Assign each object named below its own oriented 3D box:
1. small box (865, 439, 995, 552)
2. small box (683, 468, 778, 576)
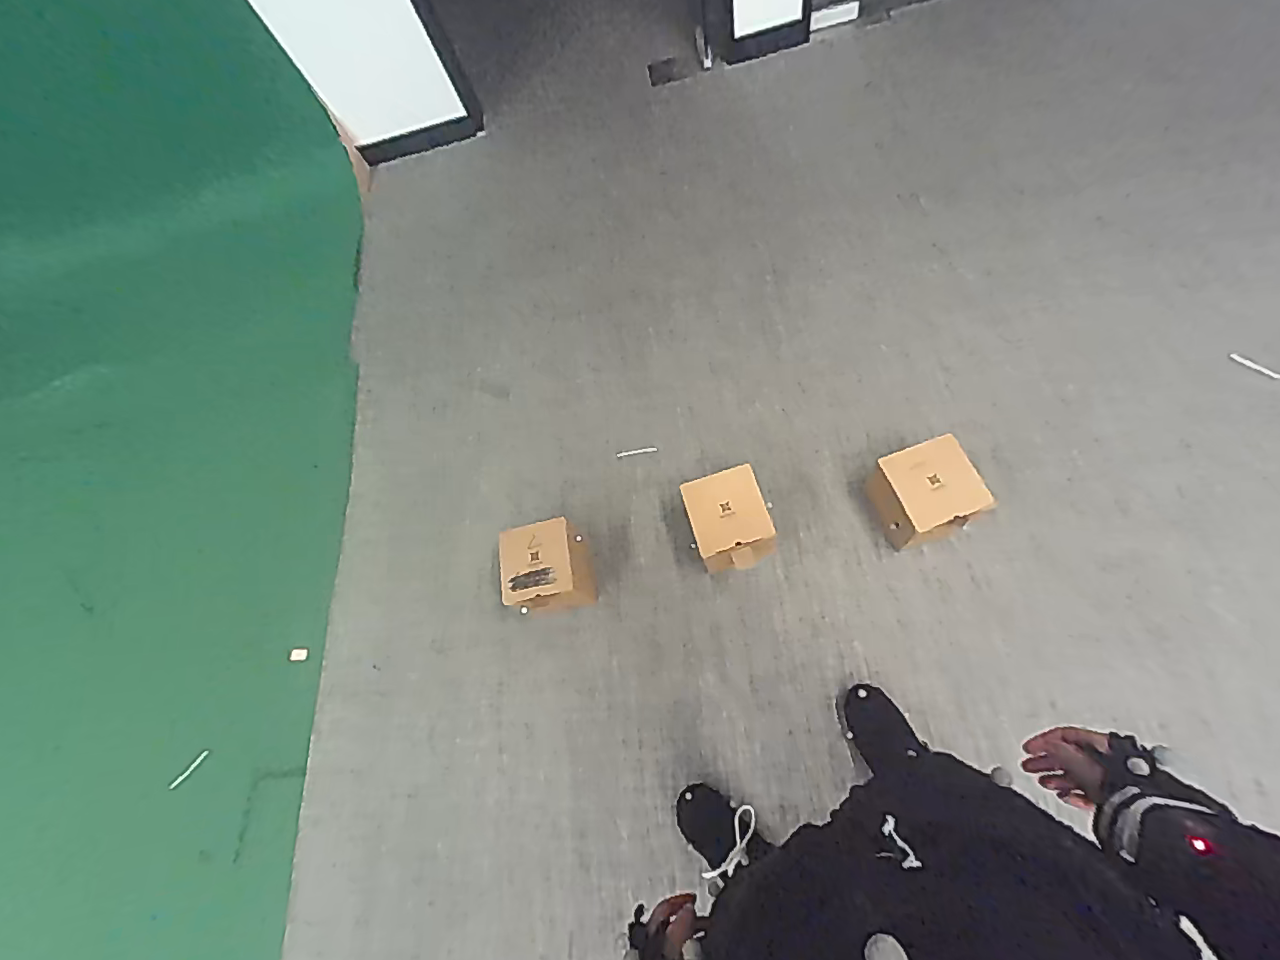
[{"bbox_3d":[0.616,0.044,1.174,0.168,0.176,0.179,-21,65,2],"label":"small box"},{"bbox_3d":[0.205,0.102,1.239,0.168,0.176,0.179,-18,67,5],"label":"small box"}]
